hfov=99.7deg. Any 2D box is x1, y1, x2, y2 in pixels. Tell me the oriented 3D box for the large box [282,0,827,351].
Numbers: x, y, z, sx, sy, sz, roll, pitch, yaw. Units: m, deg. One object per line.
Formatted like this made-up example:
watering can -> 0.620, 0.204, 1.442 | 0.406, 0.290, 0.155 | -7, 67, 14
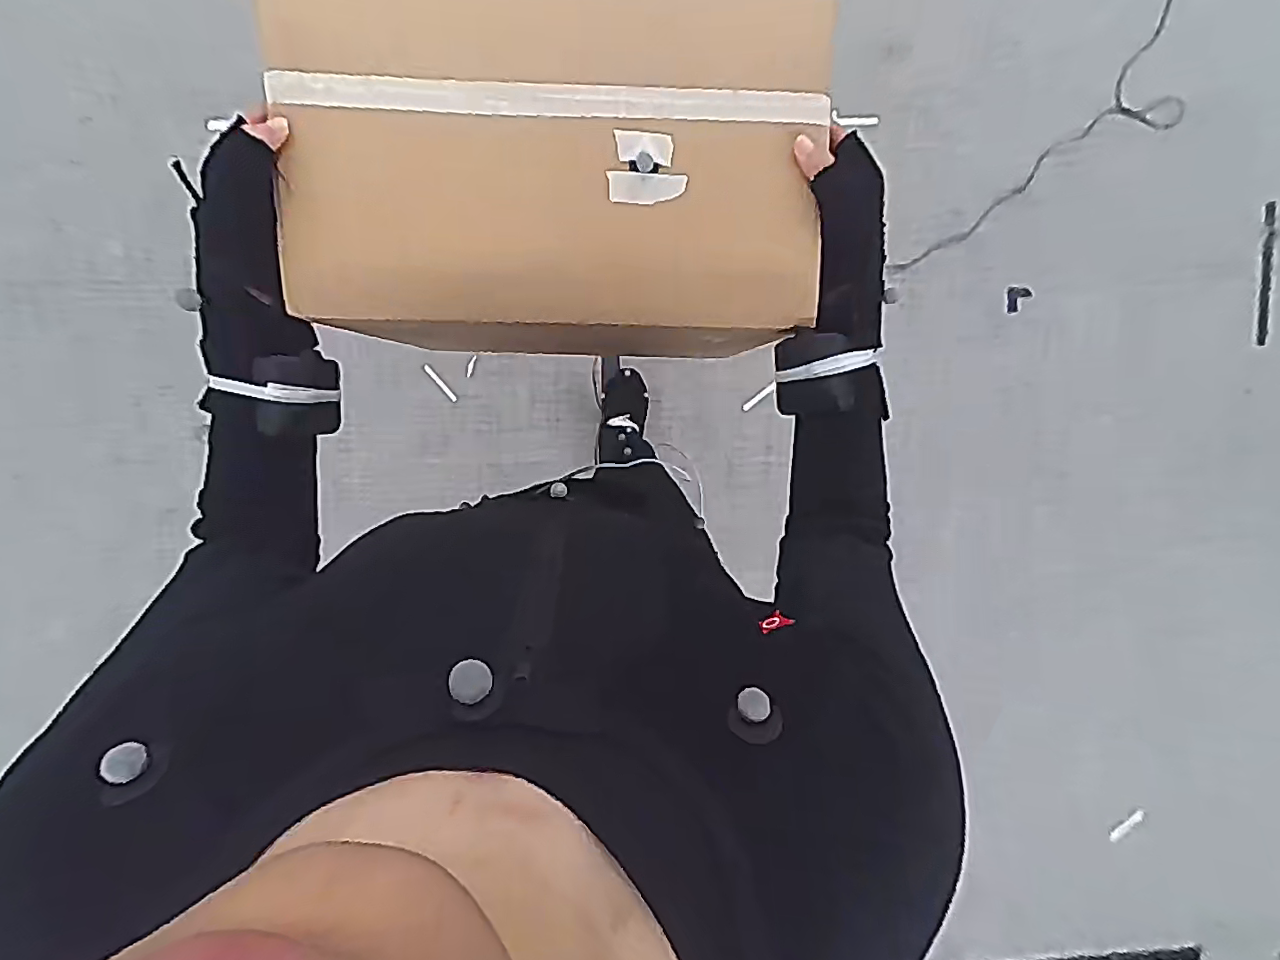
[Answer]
large box -> -0.068, -0.301, 0.551 | 0.408, 0.320, 0.320 | 1, 100, -3
